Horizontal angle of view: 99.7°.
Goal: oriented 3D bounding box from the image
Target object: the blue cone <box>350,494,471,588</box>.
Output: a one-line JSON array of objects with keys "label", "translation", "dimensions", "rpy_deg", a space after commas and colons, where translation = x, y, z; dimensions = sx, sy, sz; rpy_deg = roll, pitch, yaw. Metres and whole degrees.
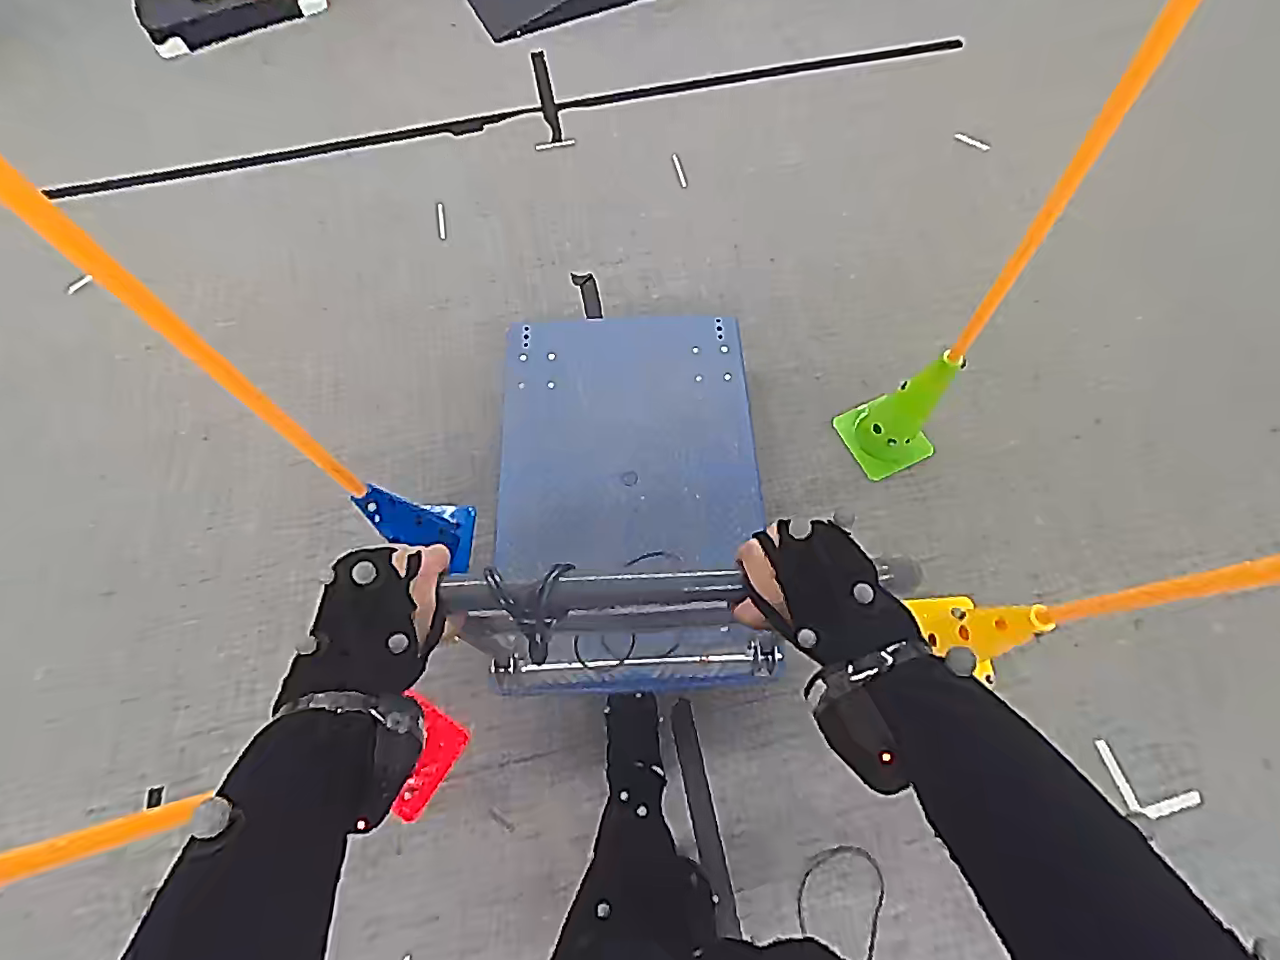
[{"label": "blue cone", "translation": [-0.510, 0.103, 1.158], "dimensions": [0.193, 0.380, 0.192], "rpy_deg": [2, 68, 1]}]

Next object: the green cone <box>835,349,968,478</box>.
[{"label": "green cone", "translation": [0.634, -0.182, 1.247], "dimensions": [0.200, 0.368, 0.202], "rpy_deg": [-25, 70, -9]}]

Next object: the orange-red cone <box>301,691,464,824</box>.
[{"label": "orange-red cone", "translation": [-0.493, 0.505, 0.972], "dimensions": [0.198, 0.360, 0.199], "rpy_deg": [31, 69, 12]}]
